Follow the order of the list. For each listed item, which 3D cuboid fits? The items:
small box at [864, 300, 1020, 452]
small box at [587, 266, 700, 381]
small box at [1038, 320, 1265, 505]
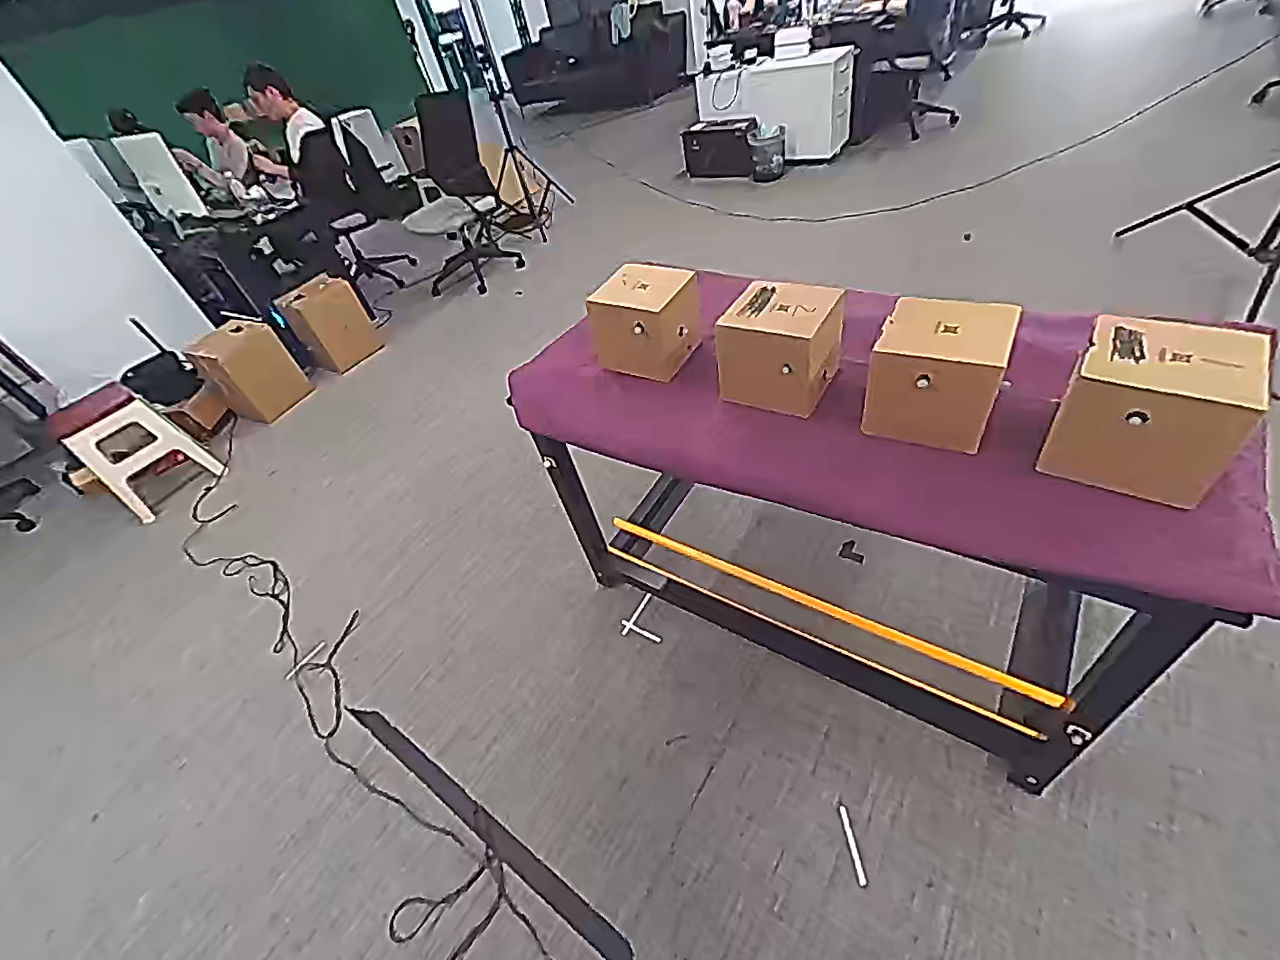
[{"bbox_3d":[0.478,-0.167,0.873,0.179,0.176,0.168,16,52,30],"label":"small box"},{"bbox_3d":[0.016,-0.335,1.161,0.179,0.176,0.168,18,53,27],"label":"small box"},{"bbox_3d":[0.680,-0.093,0.735,0.179,0.176,0.168,22,54,32],"label":"small box"}]
